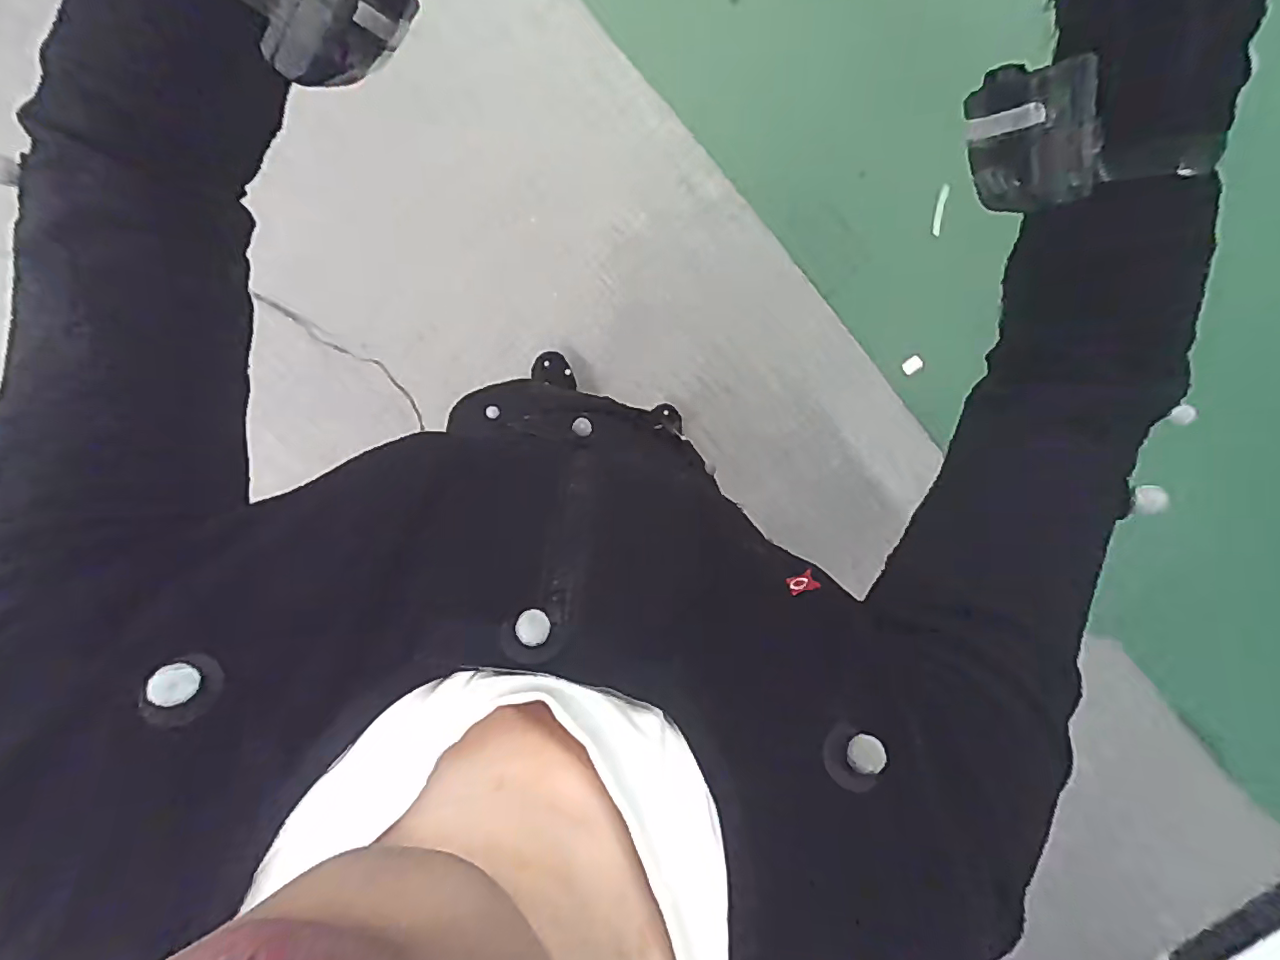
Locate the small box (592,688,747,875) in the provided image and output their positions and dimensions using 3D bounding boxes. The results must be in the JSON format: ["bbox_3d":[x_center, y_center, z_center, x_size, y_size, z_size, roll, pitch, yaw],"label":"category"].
[{"bbox_3d":[0.049,0.465,0.868,0.168,0.176,0.179,-35,95,10],"label":"small box"}]
